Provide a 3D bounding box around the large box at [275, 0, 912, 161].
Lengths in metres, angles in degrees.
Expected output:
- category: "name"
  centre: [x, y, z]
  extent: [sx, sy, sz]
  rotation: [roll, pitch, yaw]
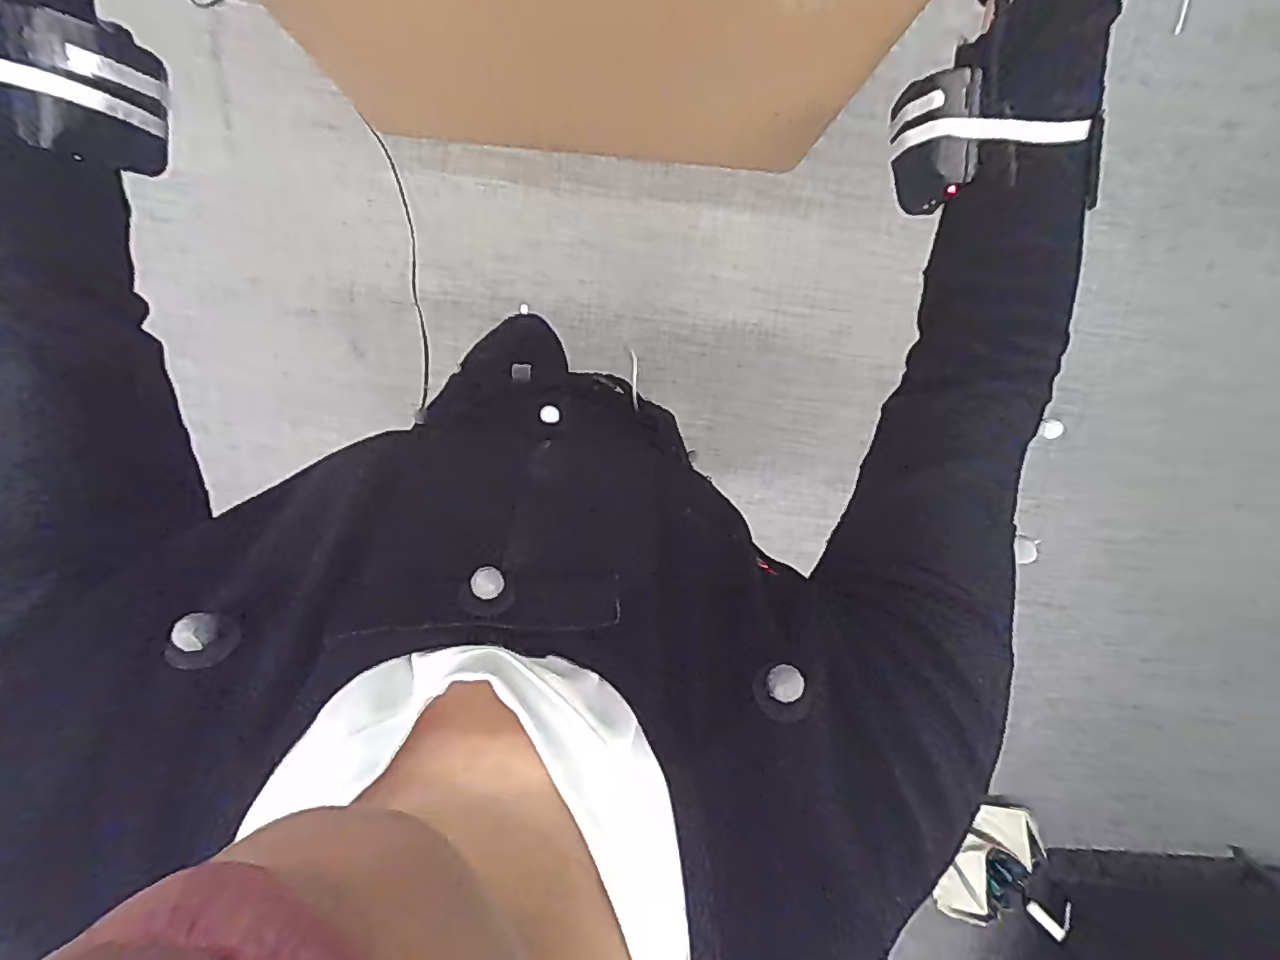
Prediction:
- category: "large box"
  centre: [-0.032, -0.447, 0.355]
  extent: [0.408, 0.320, 0.320]
  rotation: [3, 100, -4]
